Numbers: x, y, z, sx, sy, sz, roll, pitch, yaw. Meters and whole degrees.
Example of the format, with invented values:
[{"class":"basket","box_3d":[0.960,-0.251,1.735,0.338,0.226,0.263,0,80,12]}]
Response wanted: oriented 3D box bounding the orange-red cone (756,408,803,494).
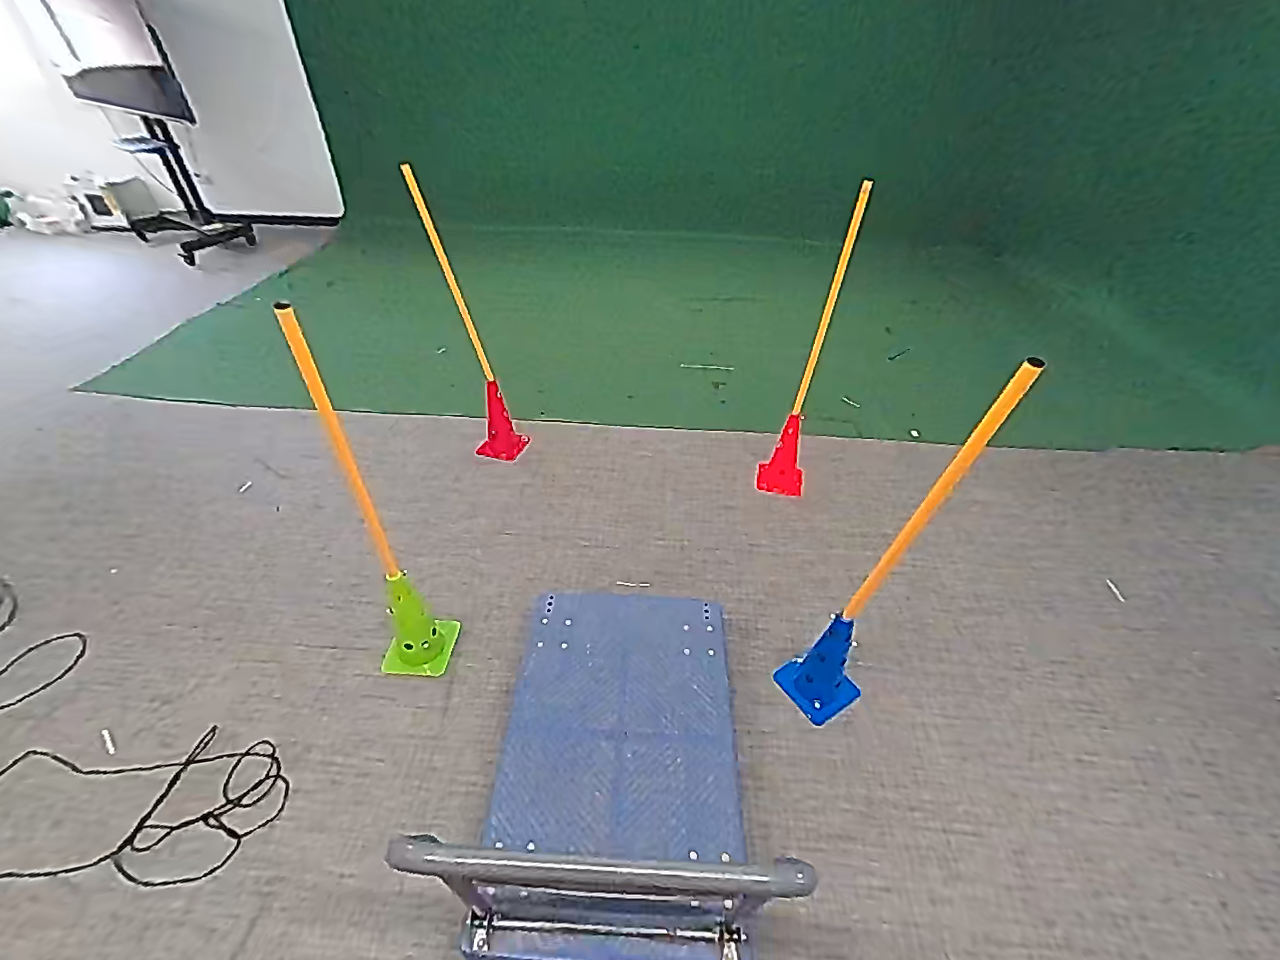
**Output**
[{"class":"orange-red cone","box_3d":[0.623,-0.144,2.292,0.198,0.360,0.199,10,42,12]}]
